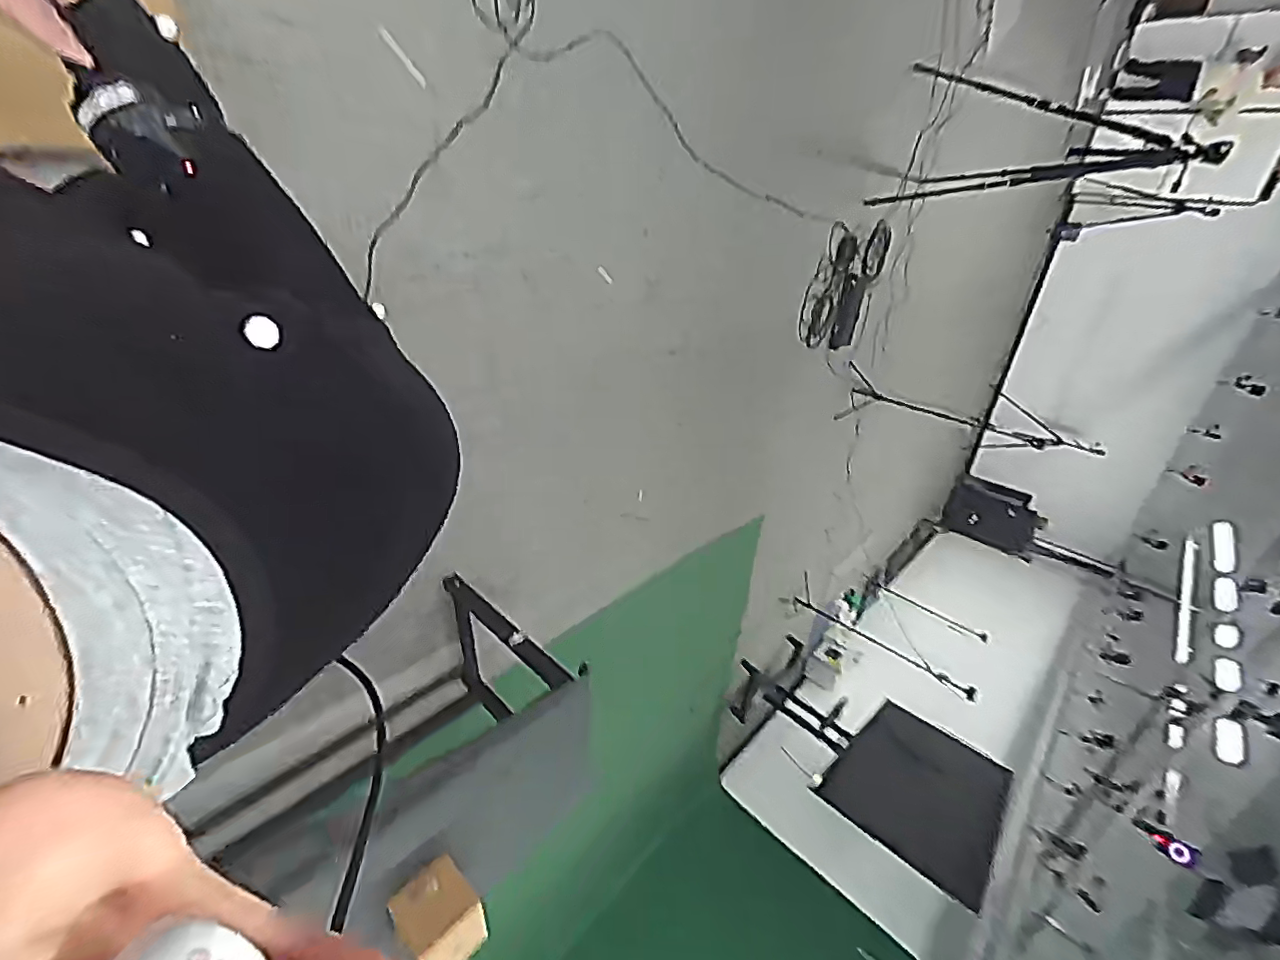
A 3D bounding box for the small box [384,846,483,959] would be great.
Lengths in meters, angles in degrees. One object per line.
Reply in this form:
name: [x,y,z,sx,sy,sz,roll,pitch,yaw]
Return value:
small box: [-0.527,1.094,1.386,0.168,0.176,0.179,-28,131,-41]
